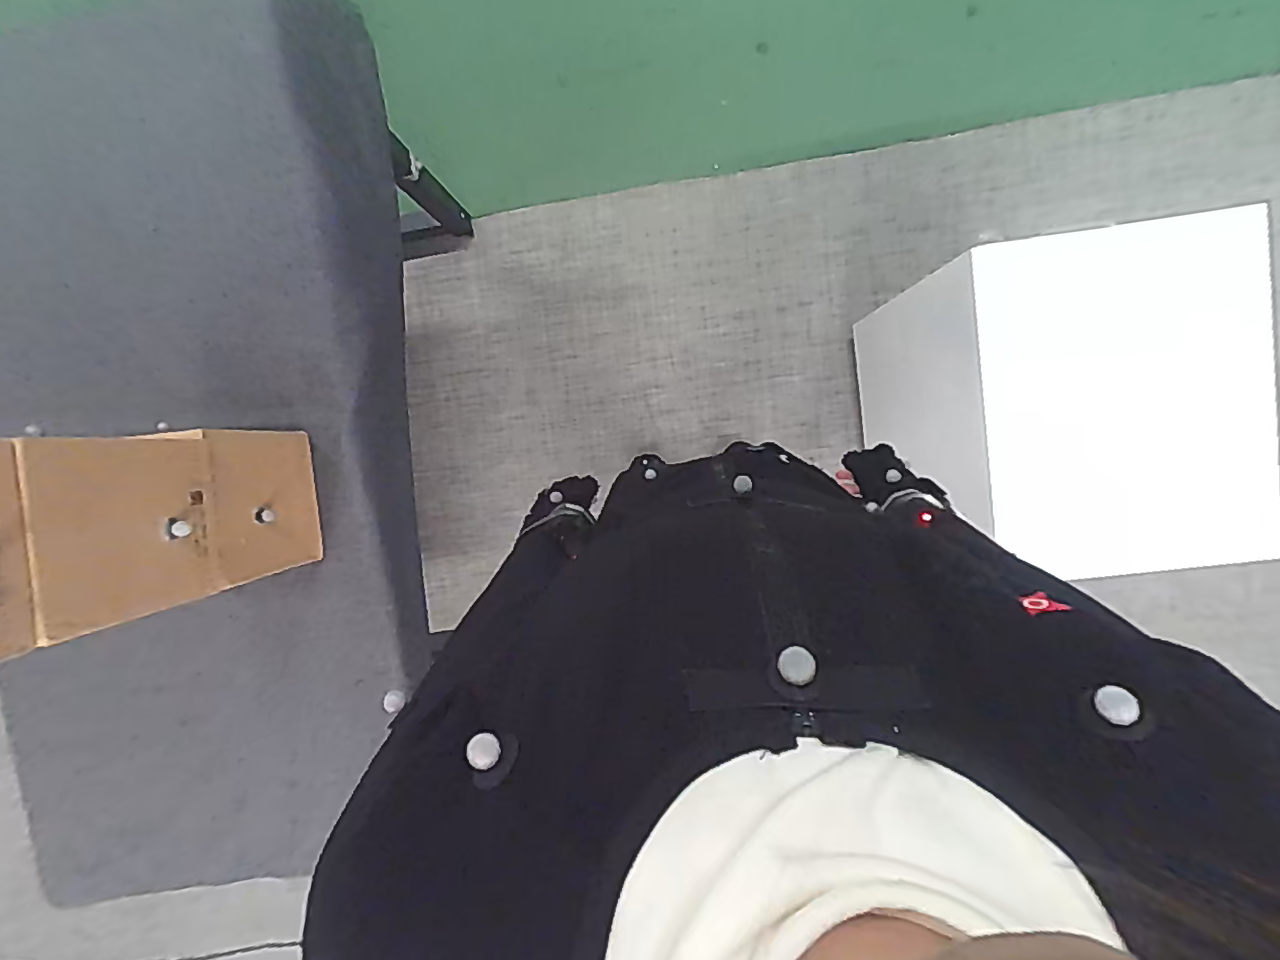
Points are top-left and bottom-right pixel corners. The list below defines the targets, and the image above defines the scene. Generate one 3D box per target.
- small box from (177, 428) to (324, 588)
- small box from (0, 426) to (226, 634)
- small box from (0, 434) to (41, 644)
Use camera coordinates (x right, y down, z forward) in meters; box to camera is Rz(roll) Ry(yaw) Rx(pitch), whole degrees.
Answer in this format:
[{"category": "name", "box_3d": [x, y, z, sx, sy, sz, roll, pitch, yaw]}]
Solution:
[{"category": "small box", "box_3d": [-0.527, 0.028, 0.675, 0.168, 0.176, 0.179, -5, 94, 6]}, {"category": "small box", "box_3d": [-0.547, 0.041, 0.512, 0.179, 0.176, 0.168, -5, 94, 7]}, {"category": "small box", "box_3d": [-0.565, 0.054, 0.352, 0.179, 0.176, 0.168, -2, 96, 5]}]
